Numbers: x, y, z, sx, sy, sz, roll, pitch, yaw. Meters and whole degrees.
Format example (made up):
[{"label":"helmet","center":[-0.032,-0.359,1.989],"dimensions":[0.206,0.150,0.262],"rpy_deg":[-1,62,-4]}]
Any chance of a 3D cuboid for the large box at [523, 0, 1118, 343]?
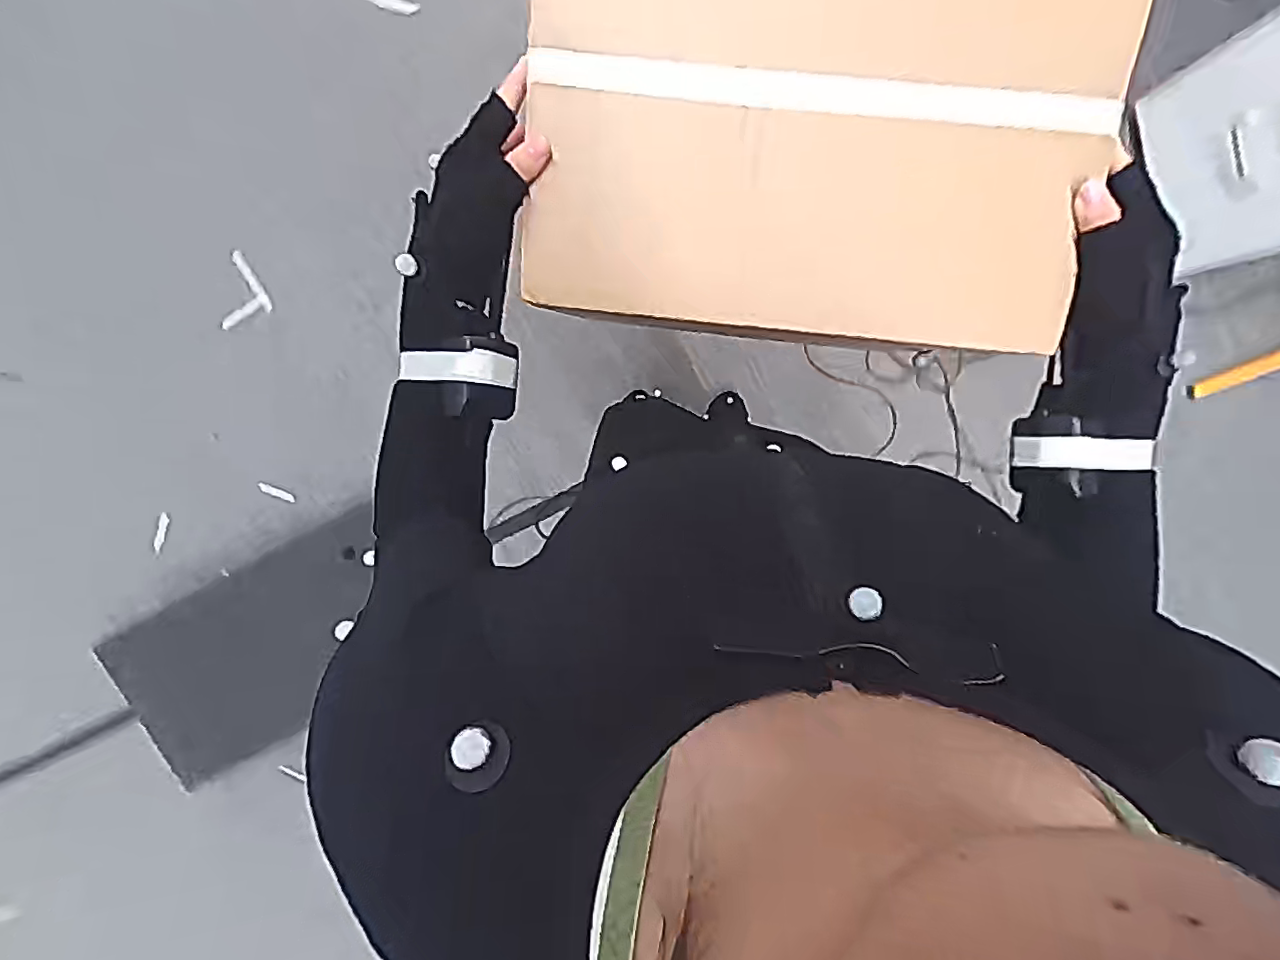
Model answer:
[{"label":"large box","center":[0.123,-0.309,0.527],"dimensions":[0.408,0.320,0.320],"rpy_deg":[5,104,1]}]
